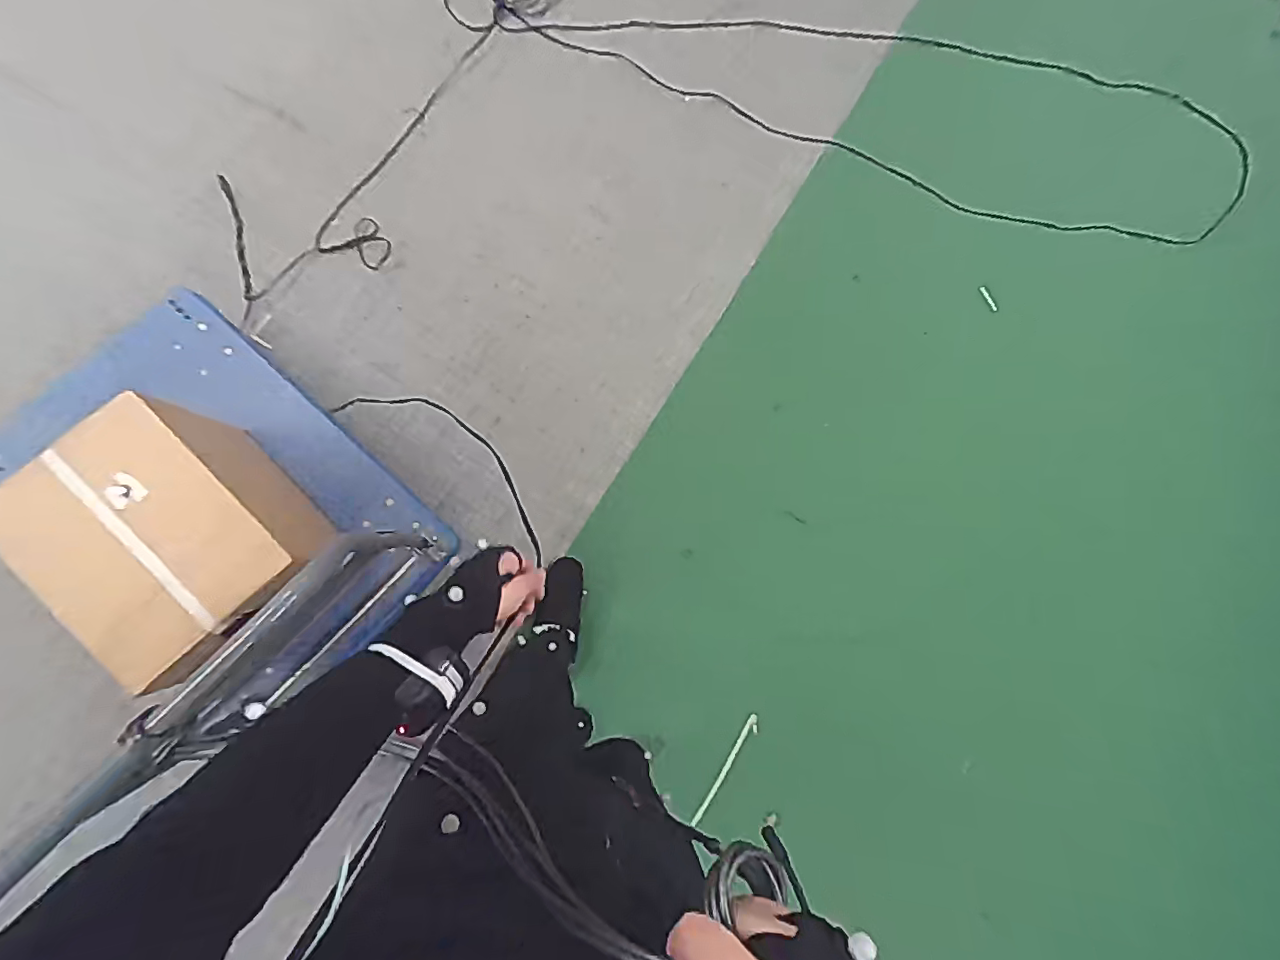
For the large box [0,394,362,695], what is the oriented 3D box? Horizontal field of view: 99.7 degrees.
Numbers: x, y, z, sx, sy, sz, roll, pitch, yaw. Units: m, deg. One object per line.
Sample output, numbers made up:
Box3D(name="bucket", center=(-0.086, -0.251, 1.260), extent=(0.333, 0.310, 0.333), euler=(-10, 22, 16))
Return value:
Box3D(name="large box", center=(-0.830, 0.117, 1.018), extent=(0.320, 0.320, 0.408), euler=(-44, 89, -10))
